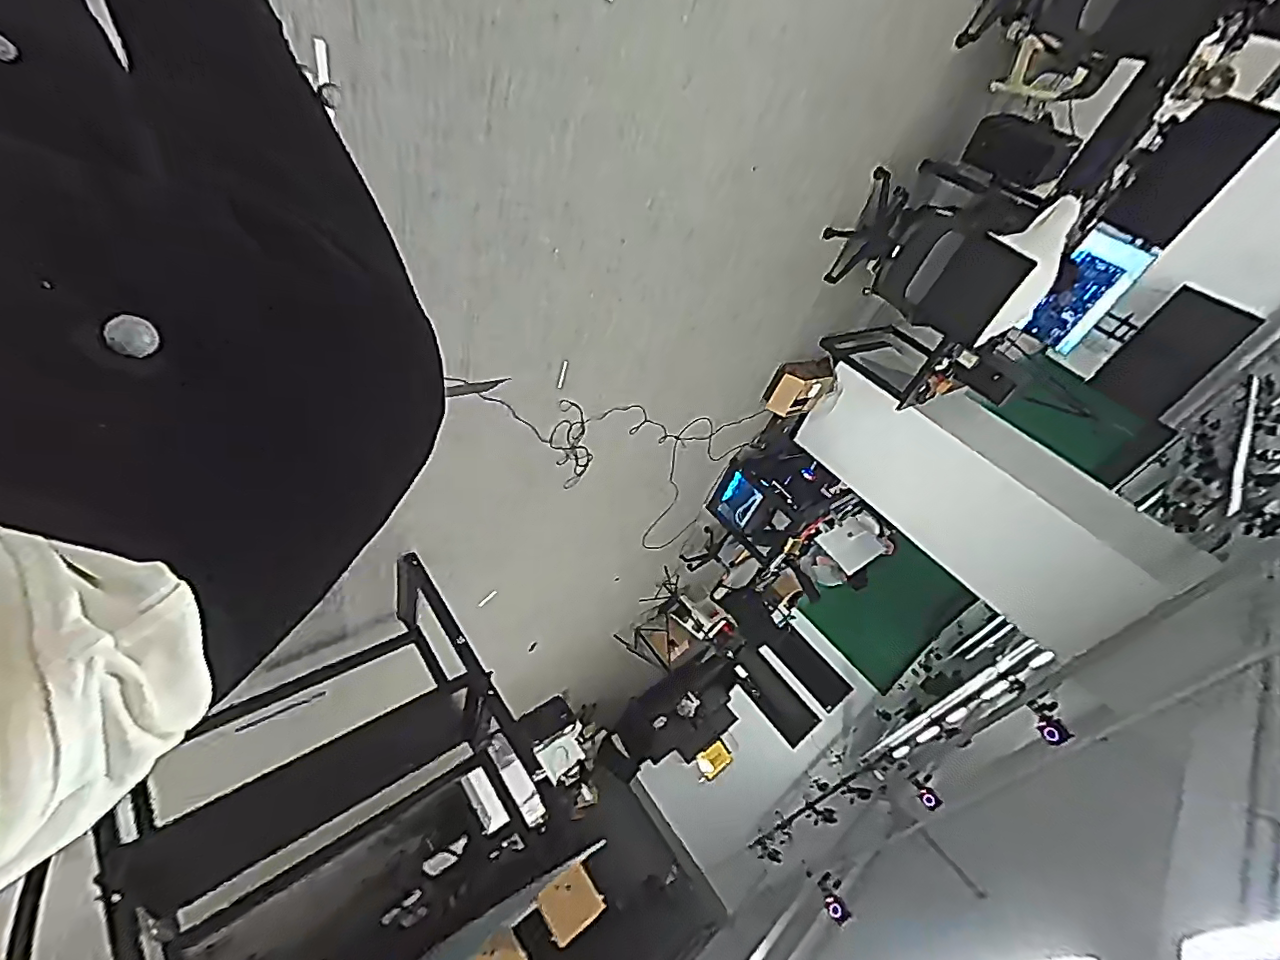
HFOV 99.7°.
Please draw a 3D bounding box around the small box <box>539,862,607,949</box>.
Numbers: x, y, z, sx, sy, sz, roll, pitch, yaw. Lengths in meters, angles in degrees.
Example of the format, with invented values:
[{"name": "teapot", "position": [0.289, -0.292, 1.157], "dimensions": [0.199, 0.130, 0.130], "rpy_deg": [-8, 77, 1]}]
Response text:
[{"name": "small box", "position": [-0.236, 1.457, 1.857], "dimensions": [0.168, 0.176, 0.179], "rpy_deg": [-25, 146, -31]}]
